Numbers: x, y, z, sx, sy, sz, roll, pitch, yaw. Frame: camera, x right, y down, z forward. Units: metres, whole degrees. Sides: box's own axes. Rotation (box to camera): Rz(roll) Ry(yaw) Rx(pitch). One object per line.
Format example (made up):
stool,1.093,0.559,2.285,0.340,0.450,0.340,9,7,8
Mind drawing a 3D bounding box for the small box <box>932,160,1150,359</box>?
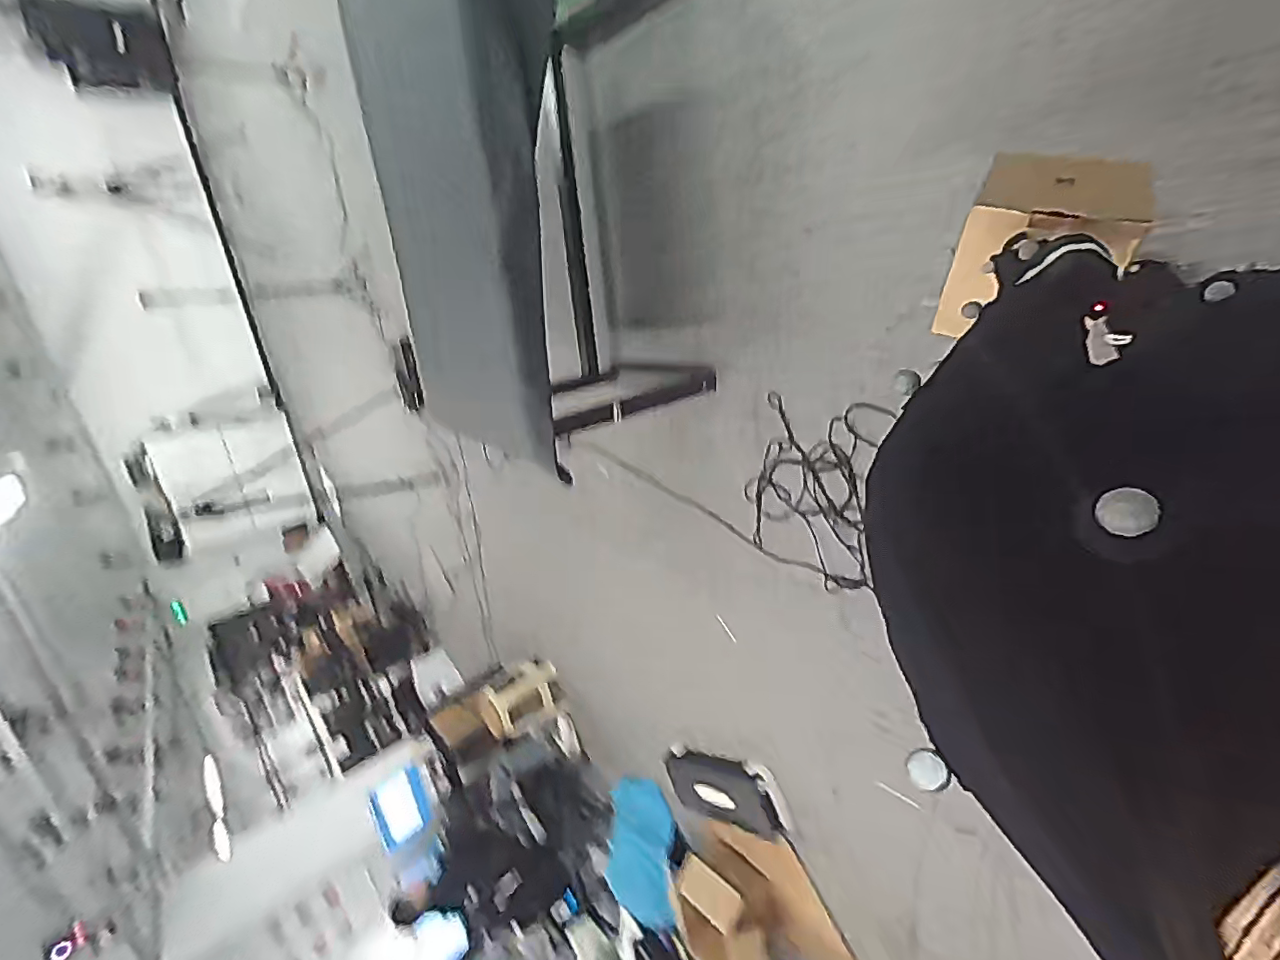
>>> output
small box,0.486,-0.275,0.676,0.168,0.179,0.176,21,144,26
